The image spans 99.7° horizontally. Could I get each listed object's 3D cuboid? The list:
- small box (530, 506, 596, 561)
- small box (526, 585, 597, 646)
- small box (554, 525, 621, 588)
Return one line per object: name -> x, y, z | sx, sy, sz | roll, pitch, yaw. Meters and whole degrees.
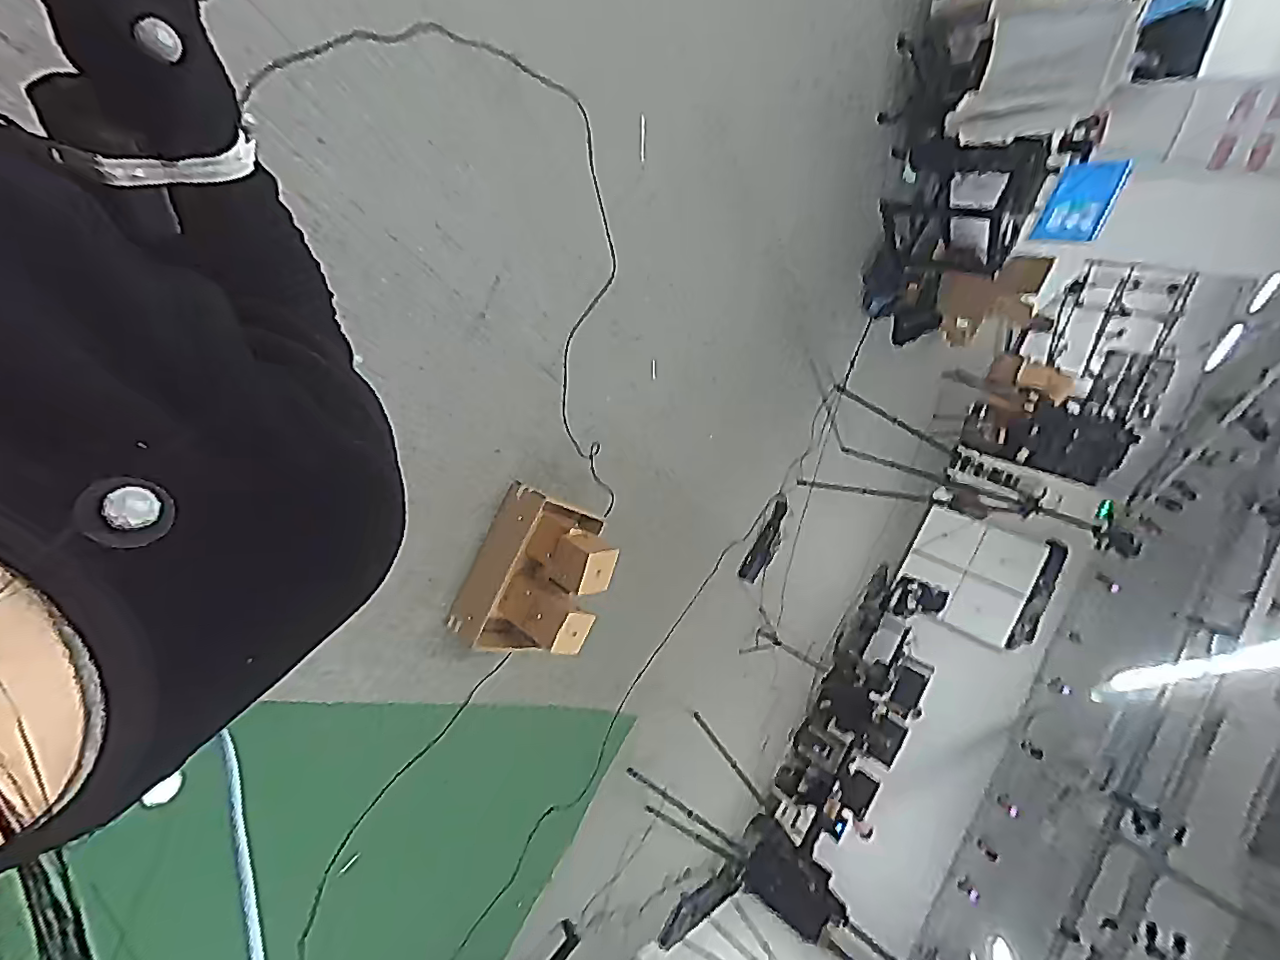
small box -> -0.312, 0.226, 2.179 | 0.168, 0.176, 0.179 | 27, 91, -54
small box -> -0.303, 0.521, 2.087 | 0.179, 0.176, 0.168 | 30, 86, -54
small box -> -0.207, 0.289, 2.070 | 0.168, 0.176, 0.179 | 0, 111, -51
